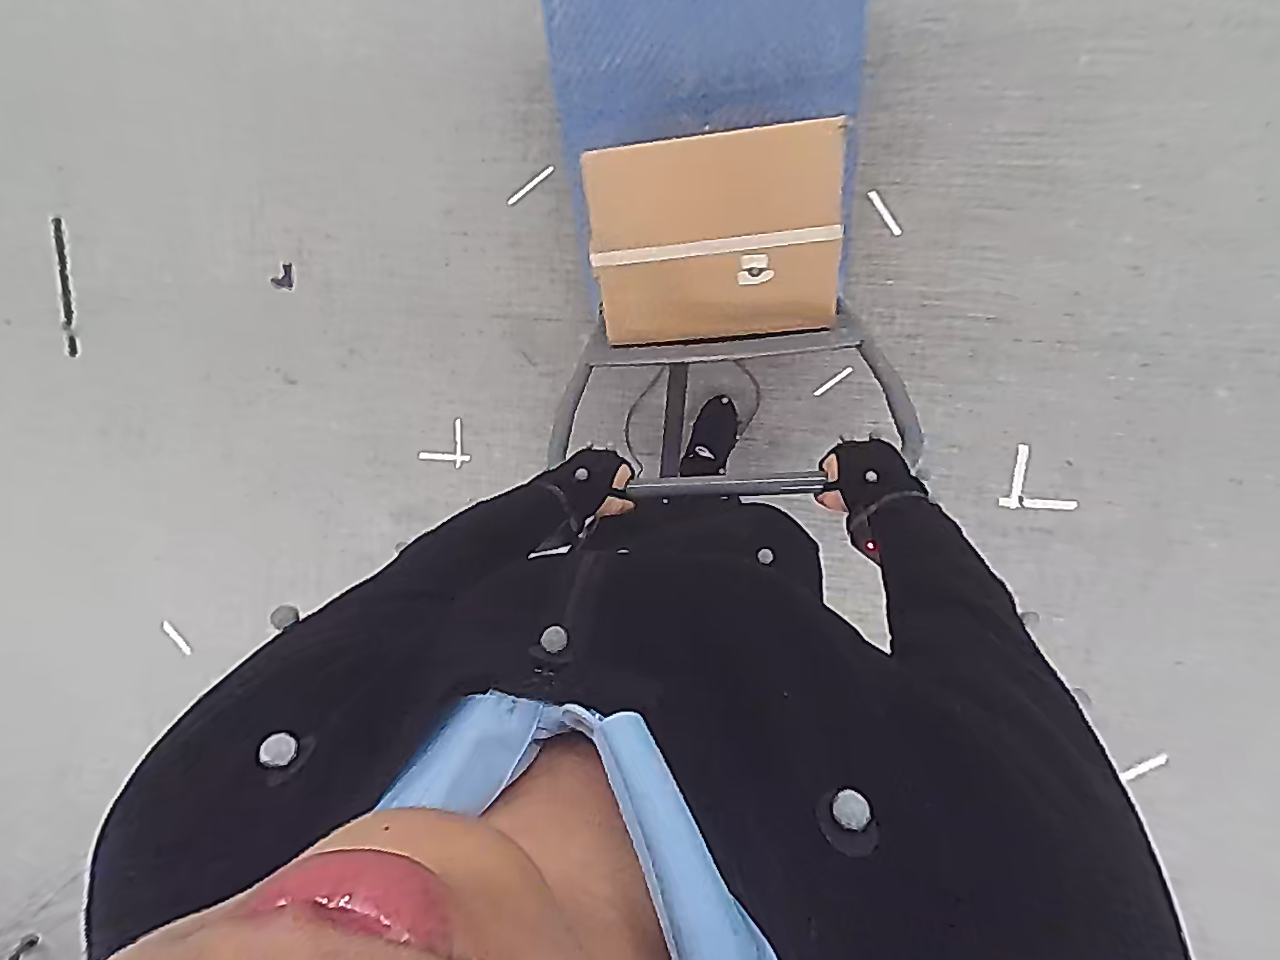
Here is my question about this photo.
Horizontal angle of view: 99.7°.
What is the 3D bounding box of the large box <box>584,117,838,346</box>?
[{"bbox_3d":[0.135,-0.473,1.041,0.408,0.320,0.320,-4,121,8],"label":"large box"}]
